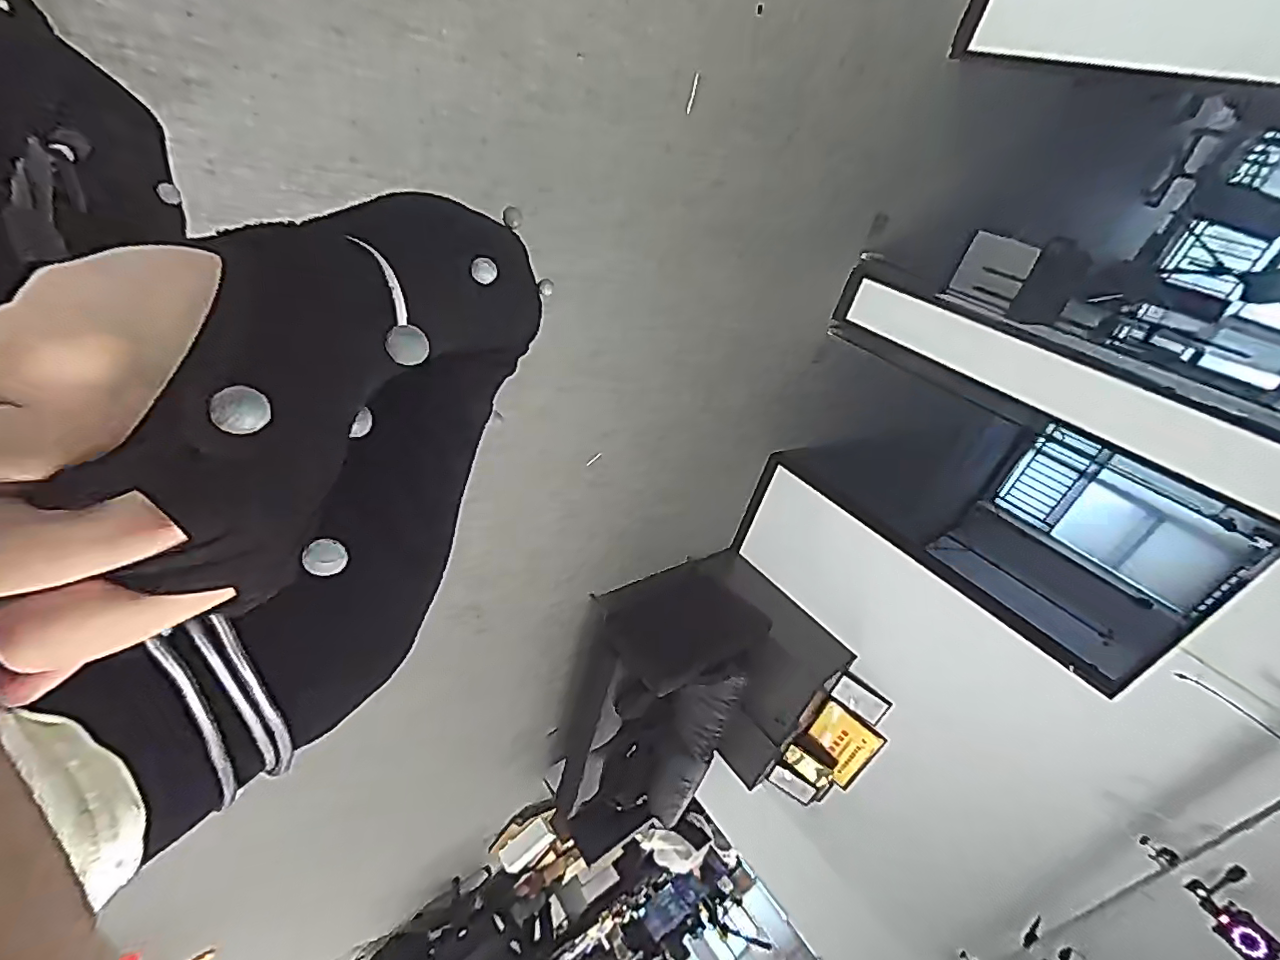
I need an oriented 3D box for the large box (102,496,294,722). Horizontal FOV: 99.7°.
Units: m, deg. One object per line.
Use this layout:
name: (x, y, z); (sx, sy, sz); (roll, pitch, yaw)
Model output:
large box: (-1.084, 0.301, 1.345); (0.320, 0.320, 0.408); (-8, 130, -43)
